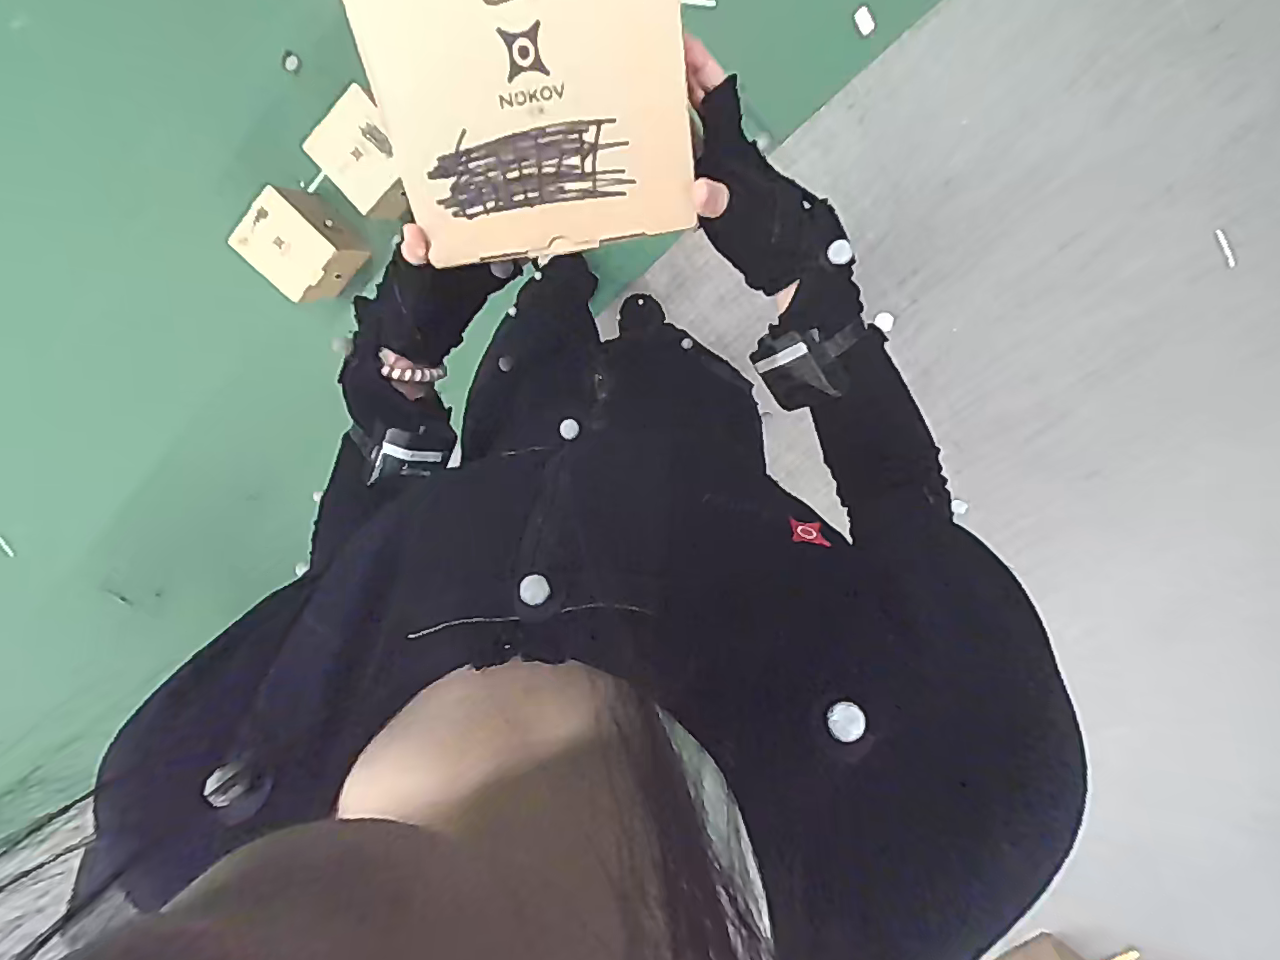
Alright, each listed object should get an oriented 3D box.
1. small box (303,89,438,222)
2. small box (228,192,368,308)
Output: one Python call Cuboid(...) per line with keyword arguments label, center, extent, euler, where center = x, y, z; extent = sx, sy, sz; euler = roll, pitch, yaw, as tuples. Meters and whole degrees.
Cuboid(label="small box", center=(-0.564, -0.685, 1.165), extent=(0.179, 0.176, 0.168), euler=(-36, 108, 15))
Cuboid(label="small box", center=(-0.766, -0.524, 1.233), extent=(0.168, 0.176, 0.179), euler=(-40, 108, 16))
